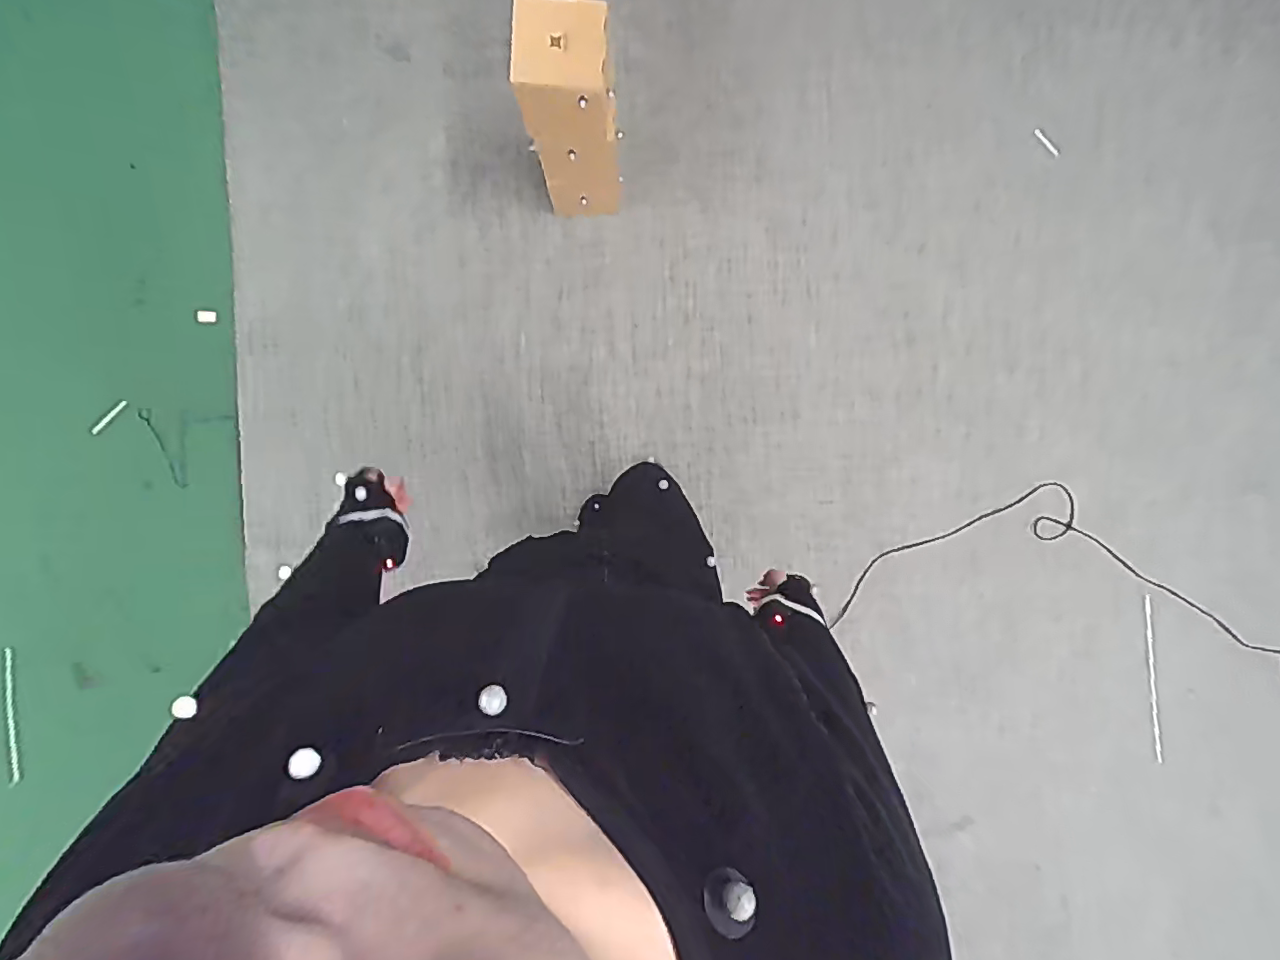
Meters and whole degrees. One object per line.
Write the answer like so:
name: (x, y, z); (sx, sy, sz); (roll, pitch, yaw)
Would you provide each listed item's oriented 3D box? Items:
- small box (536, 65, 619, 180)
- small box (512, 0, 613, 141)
small box: (-0.140, -0.820, 1.252); (0.179, 0.176, 0.168); (0, 91, -1)
small box: (-0.149, -0.817, 1.089); (0.179, 0.176, 0.168); (3, 90, -2)
